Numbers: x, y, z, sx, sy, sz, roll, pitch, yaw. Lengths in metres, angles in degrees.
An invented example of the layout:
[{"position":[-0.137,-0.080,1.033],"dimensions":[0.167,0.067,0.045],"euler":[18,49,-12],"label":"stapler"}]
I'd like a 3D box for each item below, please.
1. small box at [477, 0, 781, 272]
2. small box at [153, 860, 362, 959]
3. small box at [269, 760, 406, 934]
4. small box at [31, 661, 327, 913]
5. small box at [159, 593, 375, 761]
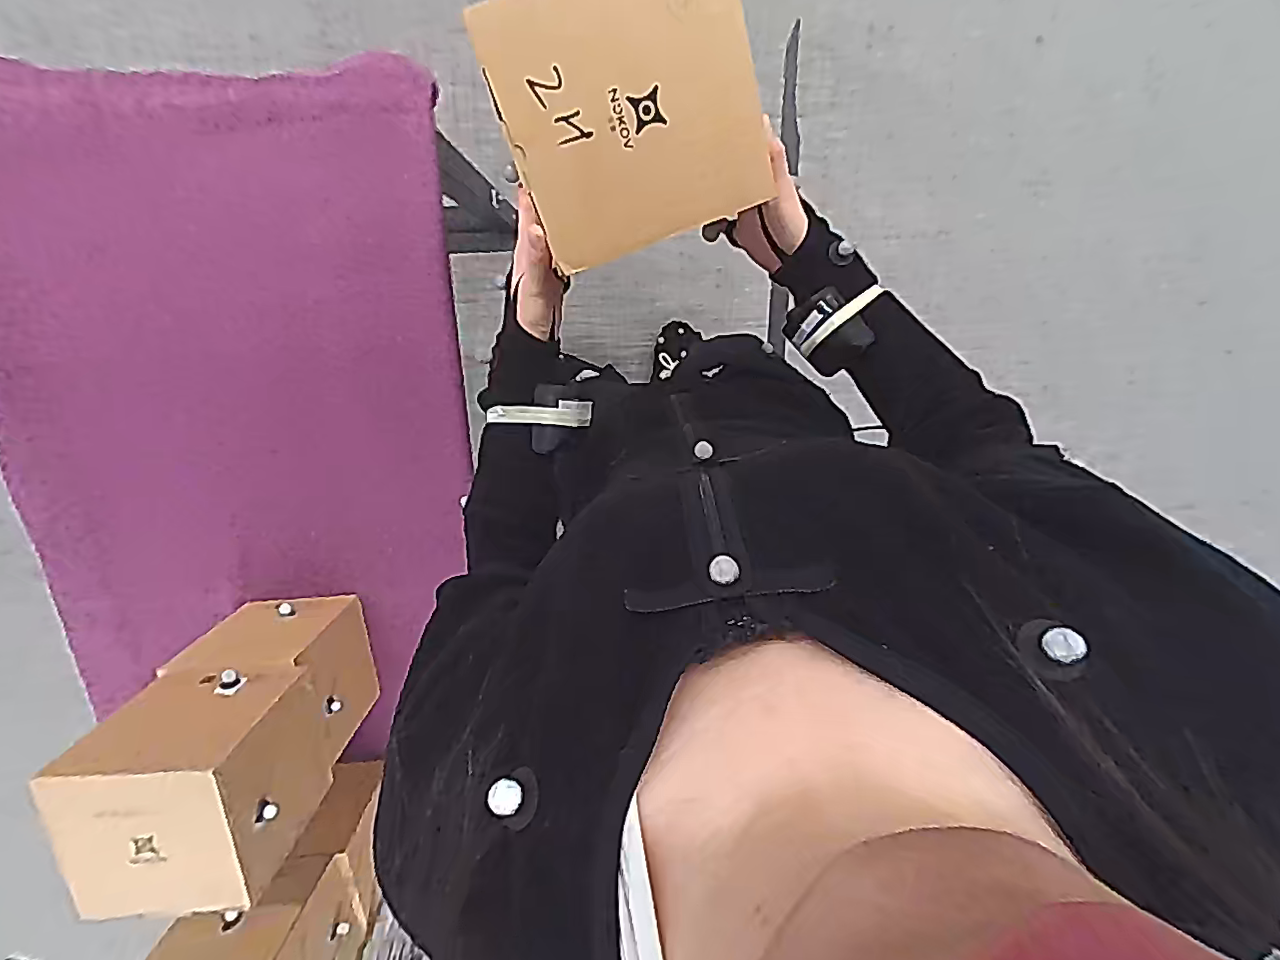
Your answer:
[{"position":[-0.010,-0.286,0.437],"dimensions":[0.179,0.176,0.168],"euler":[-19,117,1],"label":"small box"},{"position":[-0.481,0.611,0.676],"dimensions":[0.168,0.176,0.179],"euler":[-7,106,1],"label":"small box"},{"position":[-0.480,0.559,0.832],"dimensions":[0.179,0.176,0.168],"euler":[-5,107,0],"label":"small box"},{"position":[-0.474,0.323,0.593],"dimensions":[0.168,0.176,0.179],"euler":[-2,105,-3],"label":"small box"},{"position":[-0.492,0.277,0.747],"dimensions":[0.168,0.176,0.179],"euler":[-4,106,-1],"label":"small box"}]
